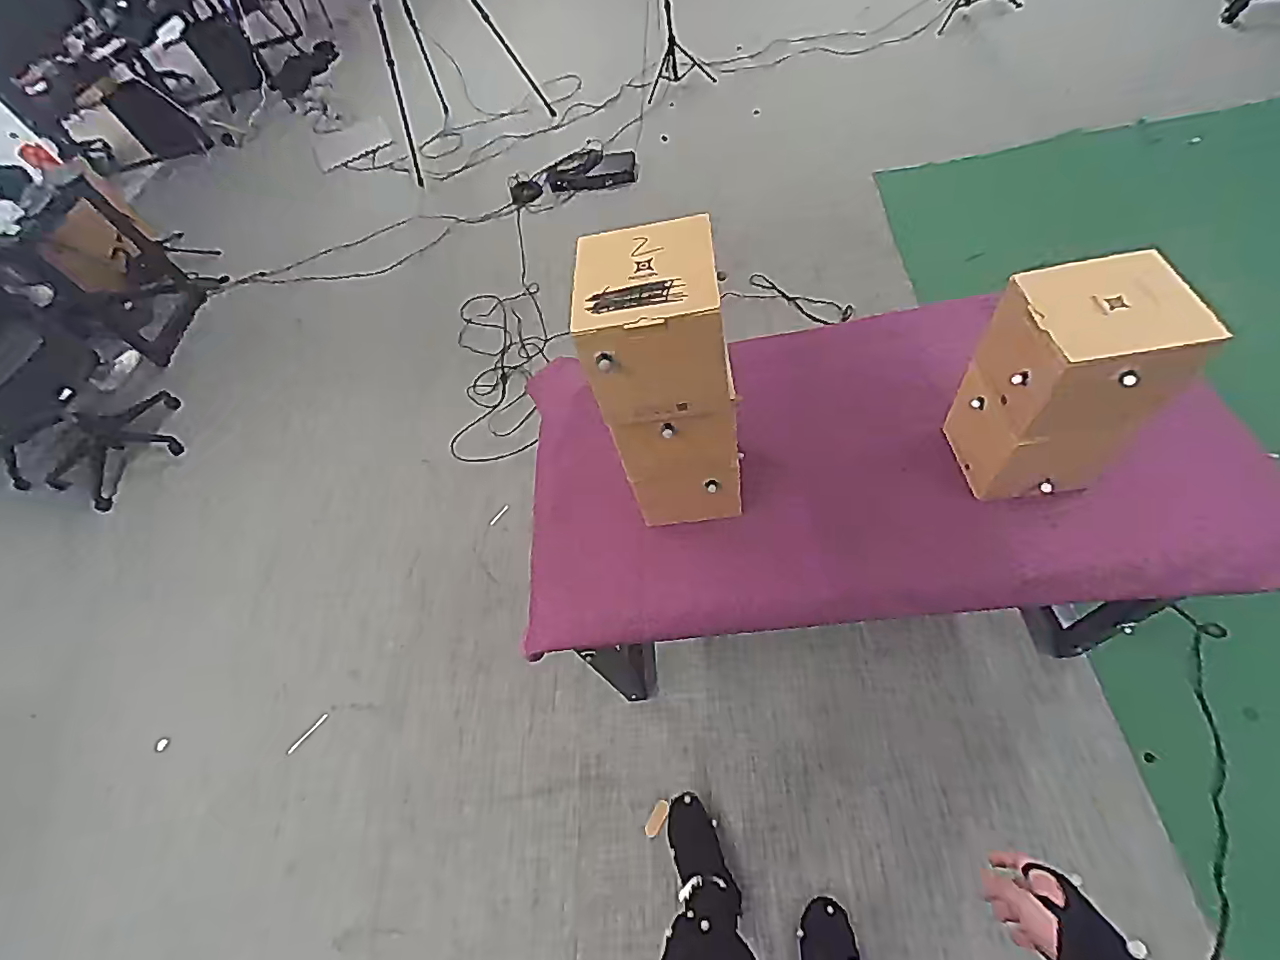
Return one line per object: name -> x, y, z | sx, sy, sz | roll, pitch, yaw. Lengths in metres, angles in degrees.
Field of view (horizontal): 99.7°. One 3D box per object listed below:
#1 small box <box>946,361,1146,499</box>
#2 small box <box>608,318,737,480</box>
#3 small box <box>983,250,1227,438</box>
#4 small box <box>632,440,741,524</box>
small box -> 0.629, -0.087, 0.867 | 0.179, 0.176, 0.168 | -9, 56, 8
small box -> 0.054, -0.117, 0.830 | 0.179, 0.176, 0.168 | -8, 58, 9
small box -> 0.596, -0.174, 0.732 | 0.179, 0.176, 0.168 | -8, 58, 9
small box -> 0.086, -0.035, 0.966 | 0.179, 0.176, 0.168 | -7, 57, 9
